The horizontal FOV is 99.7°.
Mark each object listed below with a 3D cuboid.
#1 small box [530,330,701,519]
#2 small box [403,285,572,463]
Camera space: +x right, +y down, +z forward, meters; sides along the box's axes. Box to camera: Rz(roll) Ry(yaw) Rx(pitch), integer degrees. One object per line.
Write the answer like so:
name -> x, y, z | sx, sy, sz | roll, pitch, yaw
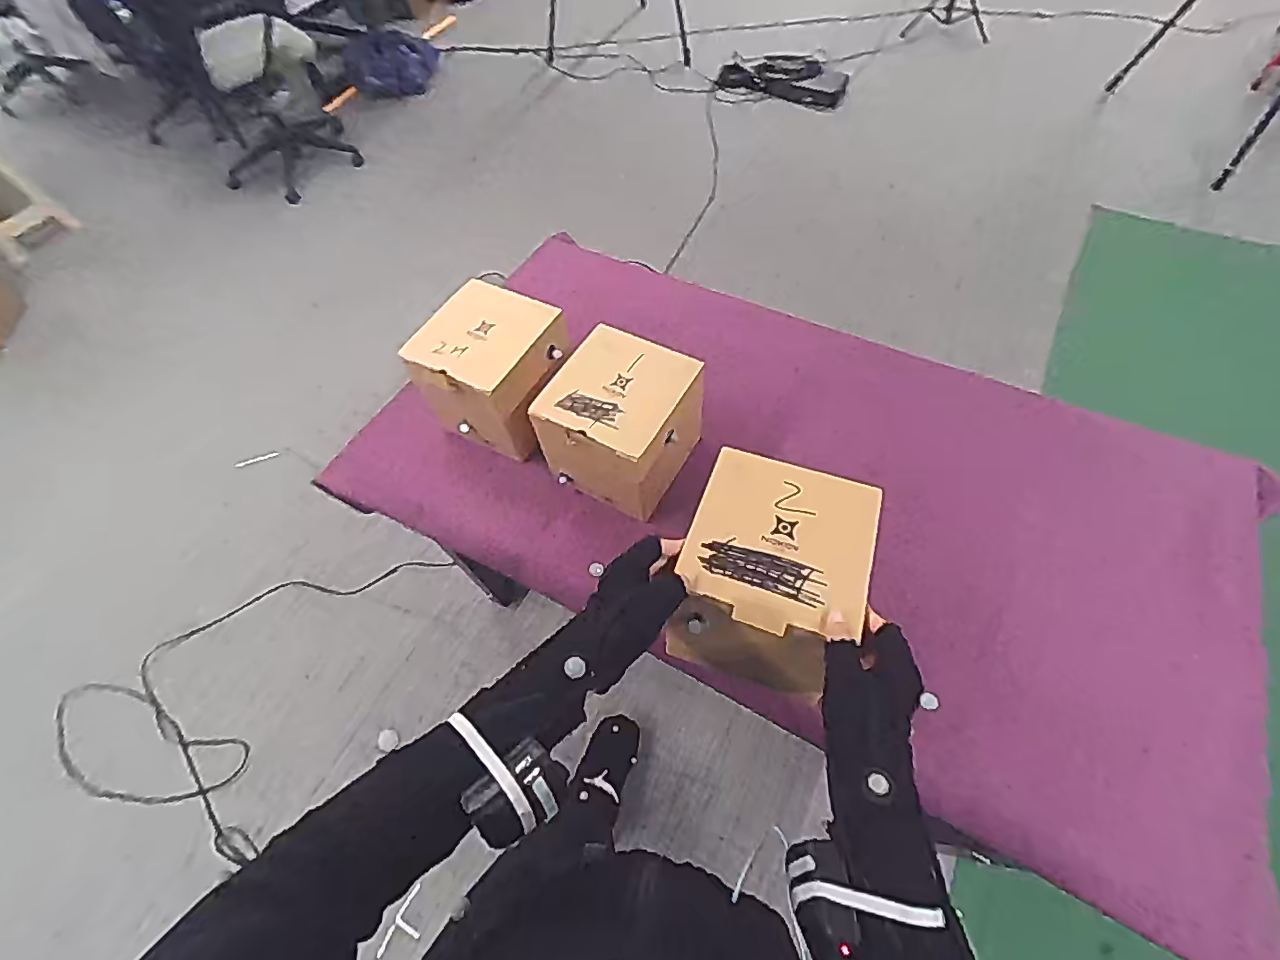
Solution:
small box -> -0.024, -0.073, 0.767 | 0.168, 0.176, 0.179 | 25, 64, 18
small box -> -0.216, -0.160, 0.832 | 0.168, 0.176, 0.179 | 24, 64, 18
